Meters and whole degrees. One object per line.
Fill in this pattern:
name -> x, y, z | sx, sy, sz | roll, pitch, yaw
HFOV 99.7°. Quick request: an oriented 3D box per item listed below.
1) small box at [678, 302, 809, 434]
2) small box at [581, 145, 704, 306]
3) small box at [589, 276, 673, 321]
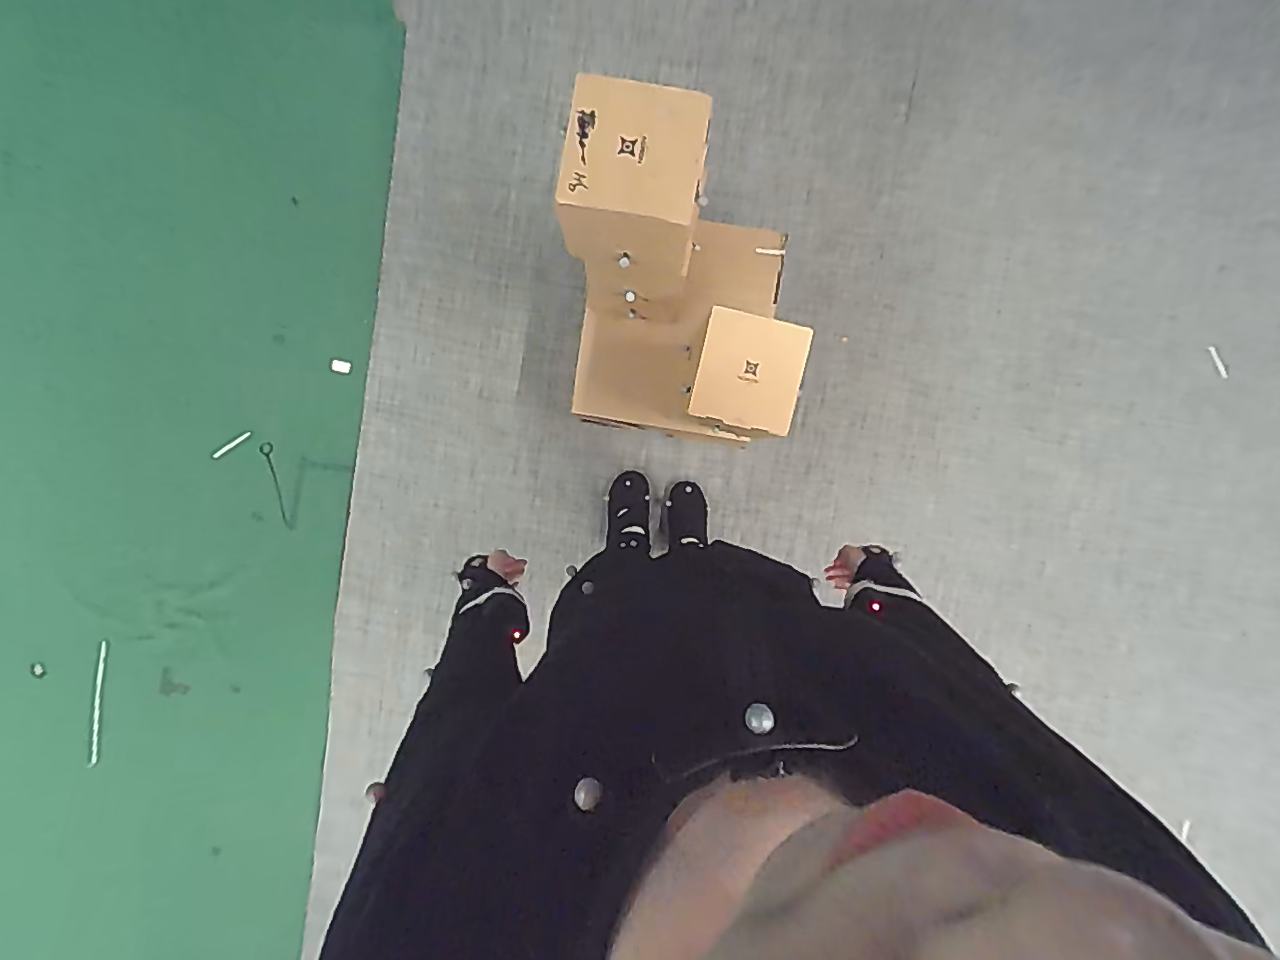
small box -> 0.167, -0.181, 0.928 | 0.168, 0.176, 0.179 | 12, 93, -2
small box -> 0.003, -0.418, 0.914 | 0.168, 0.176, 0.179 | 11, 91, 0
small box -> -0.004, -0.437, 1.079 | 0.168, 0.176, 0.179 | 9, 90, 0
